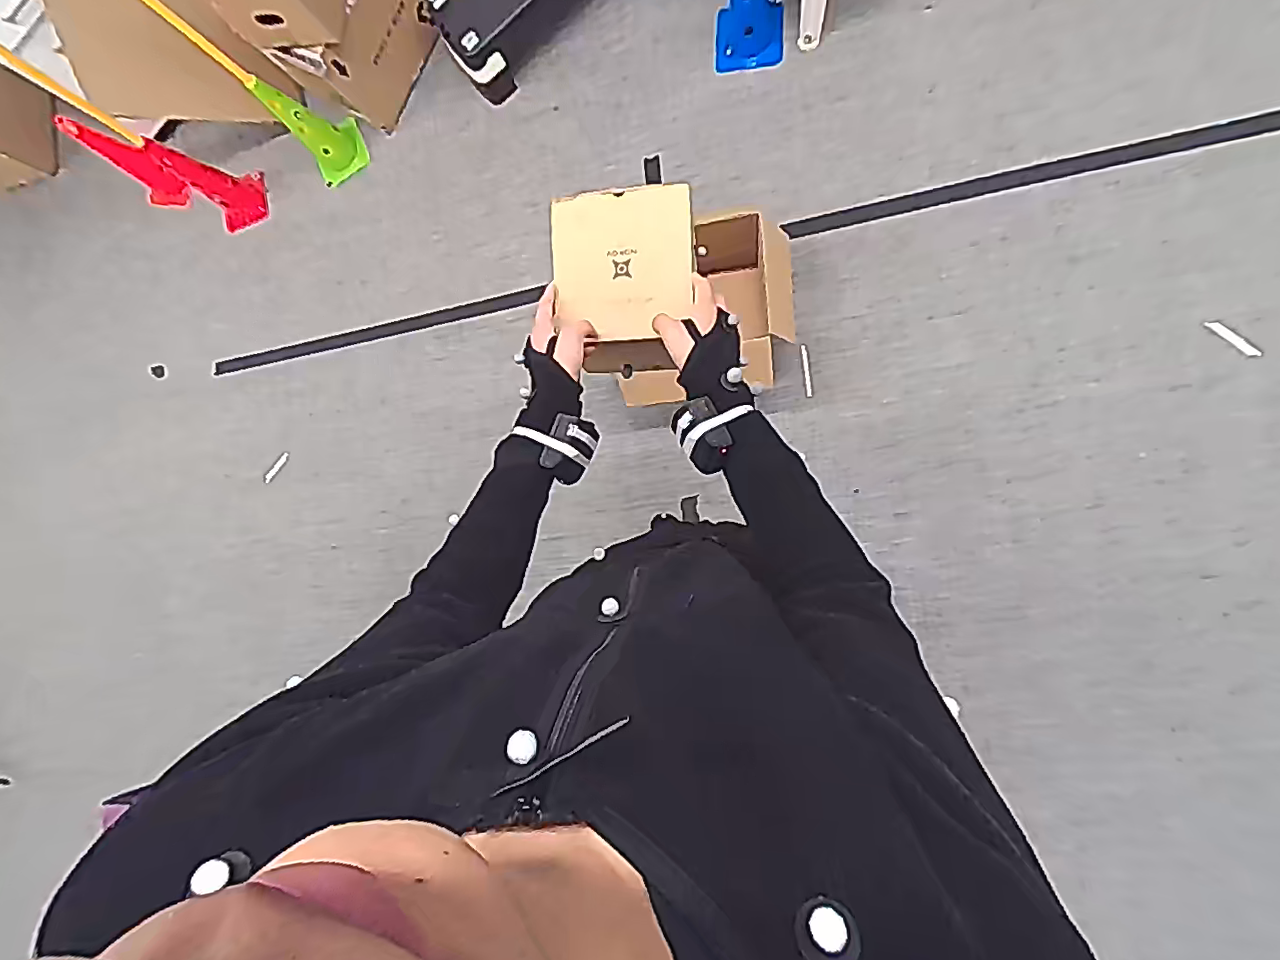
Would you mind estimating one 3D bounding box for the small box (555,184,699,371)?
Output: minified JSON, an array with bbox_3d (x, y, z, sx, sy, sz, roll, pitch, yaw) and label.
[{"bbox_3d":[-0.009,-0.251,0.709,0.168,0.176,0.179,-2,88,8],"label":"small box"}]
